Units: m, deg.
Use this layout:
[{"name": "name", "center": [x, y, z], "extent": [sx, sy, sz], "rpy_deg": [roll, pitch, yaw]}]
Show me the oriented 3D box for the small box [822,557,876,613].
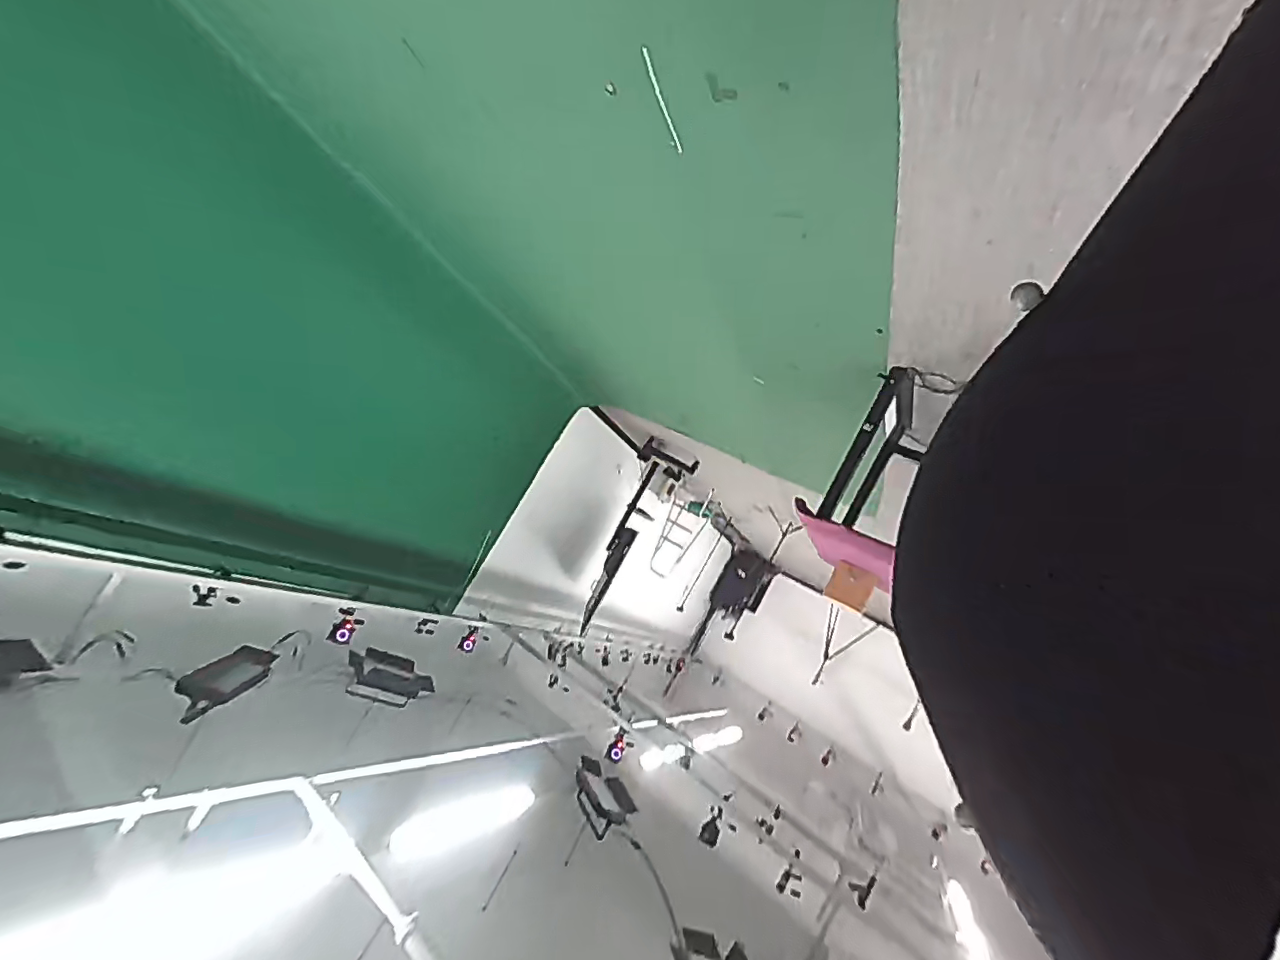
[{"name": "small box", "center": [0.895, 0.448, 2.309], "extent": [0.168, 0.176, 0.179], "rpy_deg": [23, 171, 28]}]
